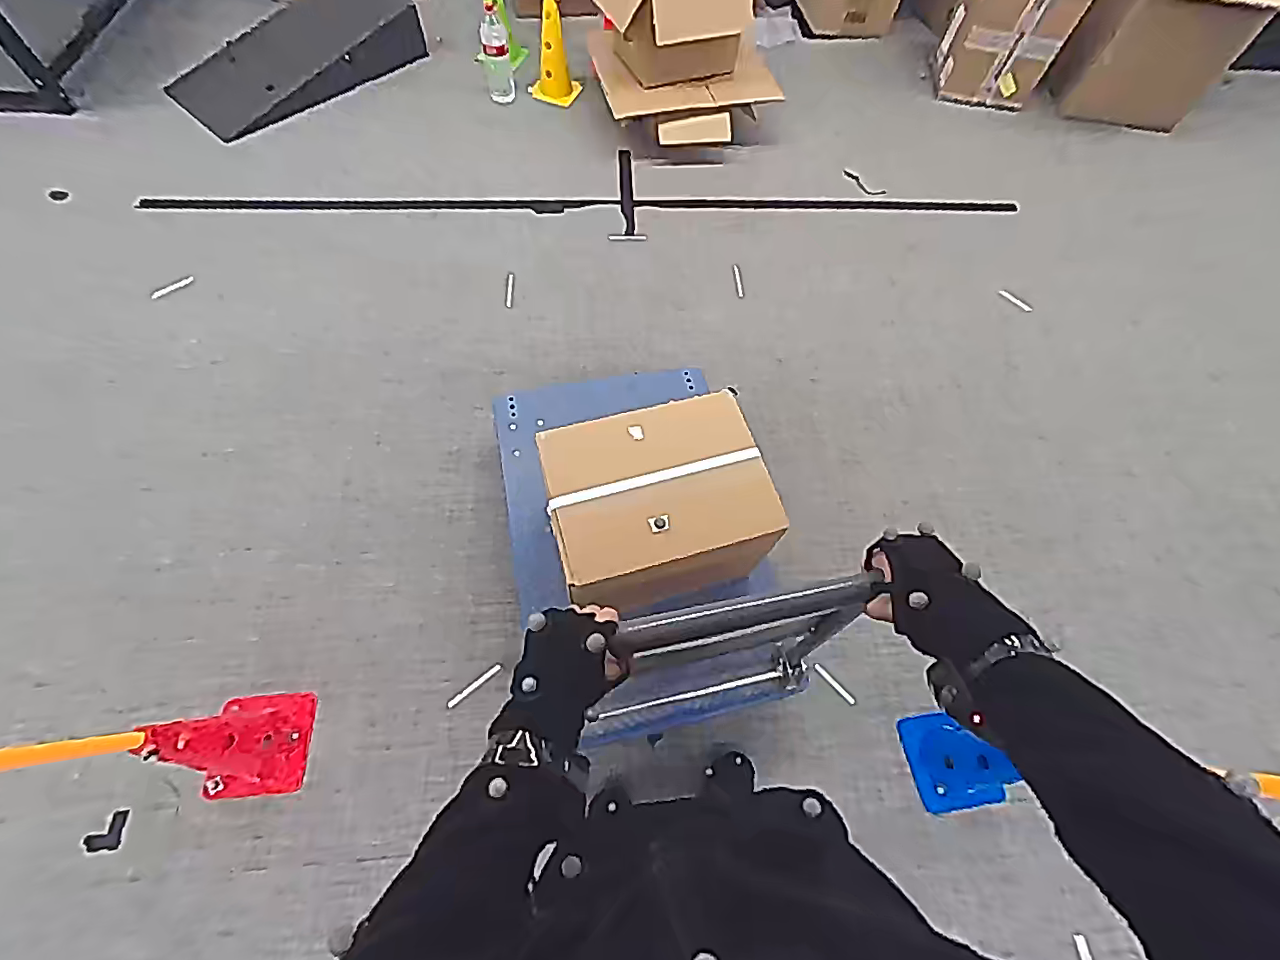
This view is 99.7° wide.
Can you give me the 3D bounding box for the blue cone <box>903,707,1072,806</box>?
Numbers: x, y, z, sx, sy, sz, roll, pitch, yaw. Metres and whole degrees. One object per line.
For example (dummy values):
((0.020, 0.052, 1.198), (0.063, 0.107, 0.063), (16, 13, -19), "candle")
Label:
((0.730, 0.557, 1.102), (0.193, 0.380, 0.192), (-5, 62, -6), "blue cone")
